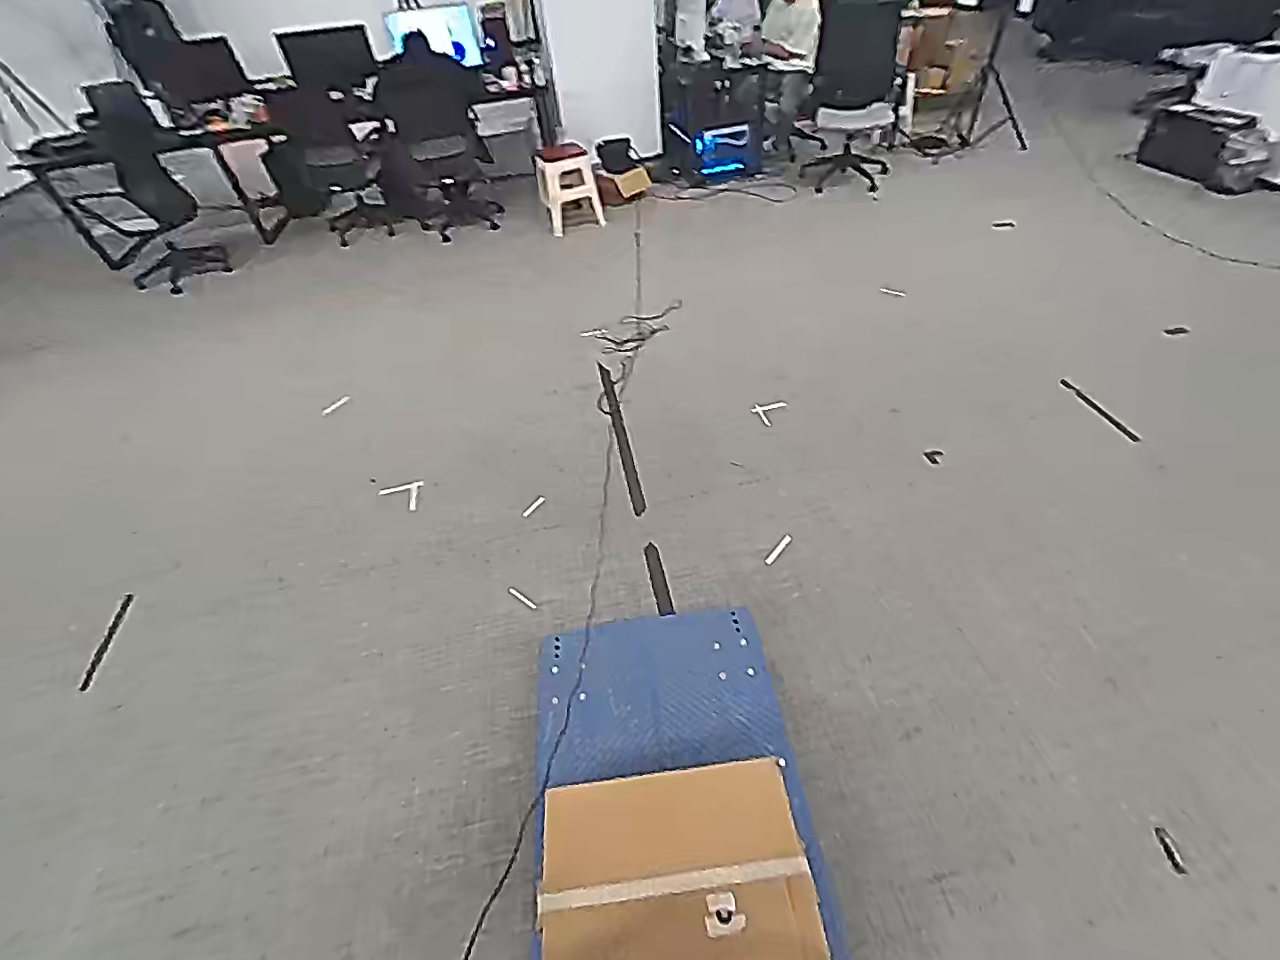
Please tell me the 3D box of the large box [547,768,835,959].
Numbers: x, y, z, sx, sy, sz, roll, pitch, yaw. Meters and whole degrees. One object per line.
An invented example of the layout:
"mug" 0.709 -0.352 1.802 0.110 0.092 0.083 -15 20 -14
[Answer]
"large box" 0.071 0.725 0.899 0.408 0.320 0.320 -8 45 -1
